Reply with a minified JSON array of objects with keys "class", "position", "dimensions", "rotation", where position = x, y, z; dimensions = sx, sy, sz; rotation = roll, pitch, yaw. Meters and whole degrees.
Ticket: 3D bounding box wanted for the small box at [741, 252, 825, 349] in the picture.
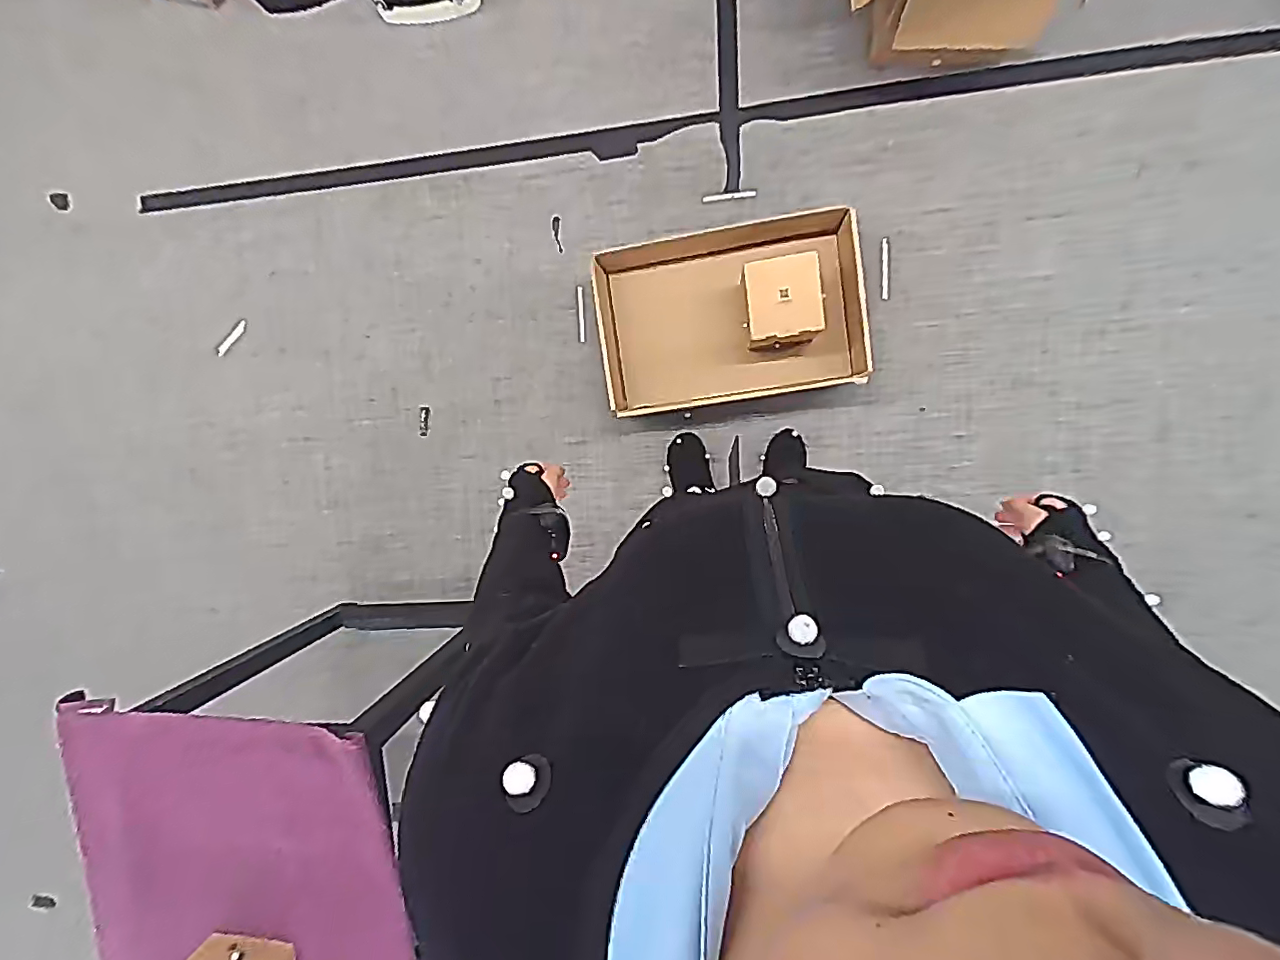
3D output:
[{"class":"small box","position":[0.337,-0.423,1.301],"dimensions":[0.168,0.176,0.179],"rotation":[-7,95,9]}]
